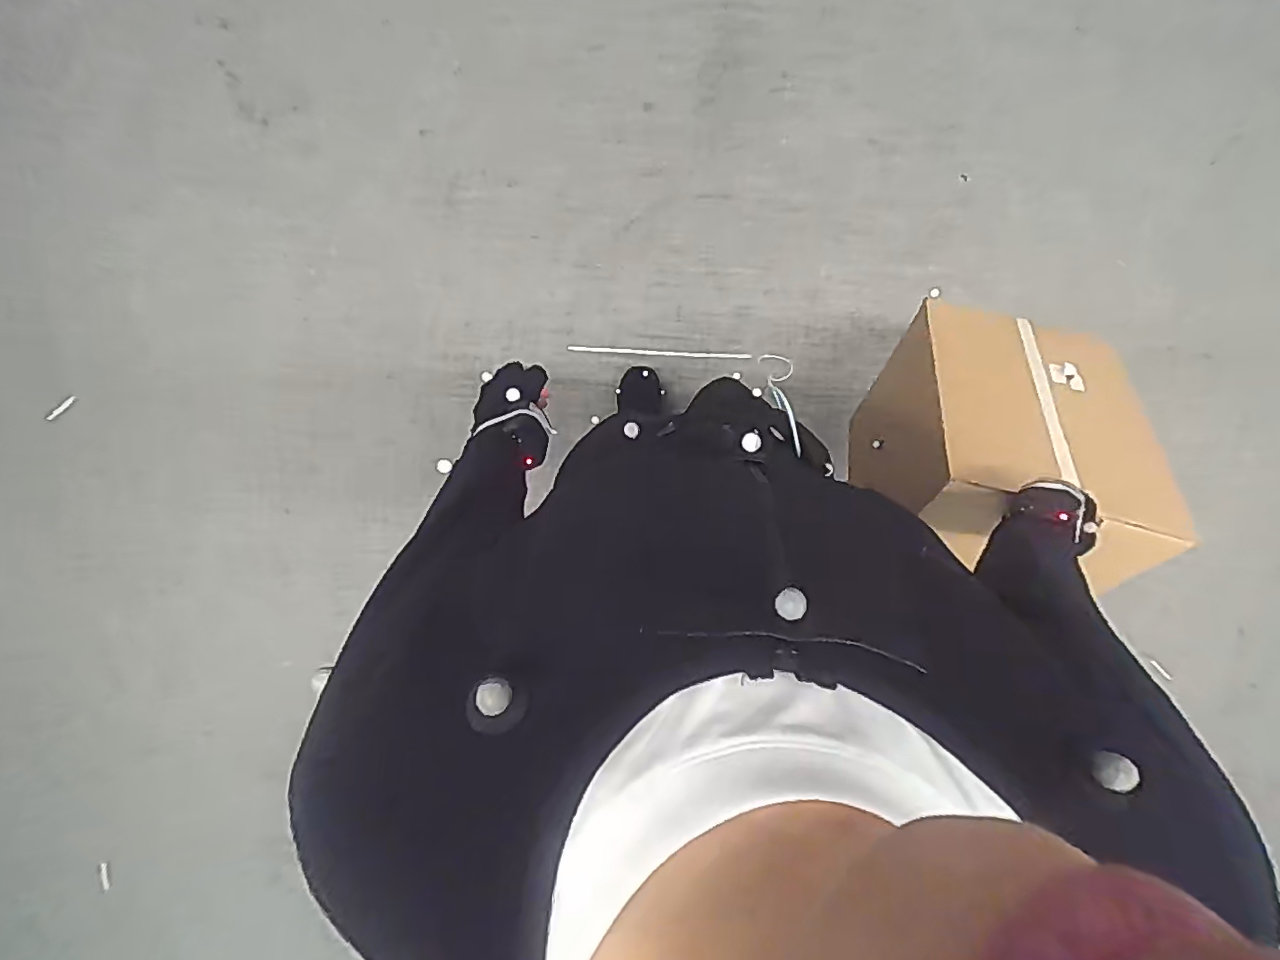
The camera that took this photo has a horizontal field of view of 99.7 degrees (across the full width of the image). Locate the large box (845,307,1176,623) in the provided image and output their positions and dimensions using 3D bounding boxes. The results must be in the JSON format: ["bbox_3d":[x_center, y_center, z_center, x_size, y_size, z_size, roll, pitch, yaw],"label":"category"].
[{"bbox_3d":[0.563,-0.025,0.929,0.320,0.408,0.320,15,143,2],"label":"large box"}]
